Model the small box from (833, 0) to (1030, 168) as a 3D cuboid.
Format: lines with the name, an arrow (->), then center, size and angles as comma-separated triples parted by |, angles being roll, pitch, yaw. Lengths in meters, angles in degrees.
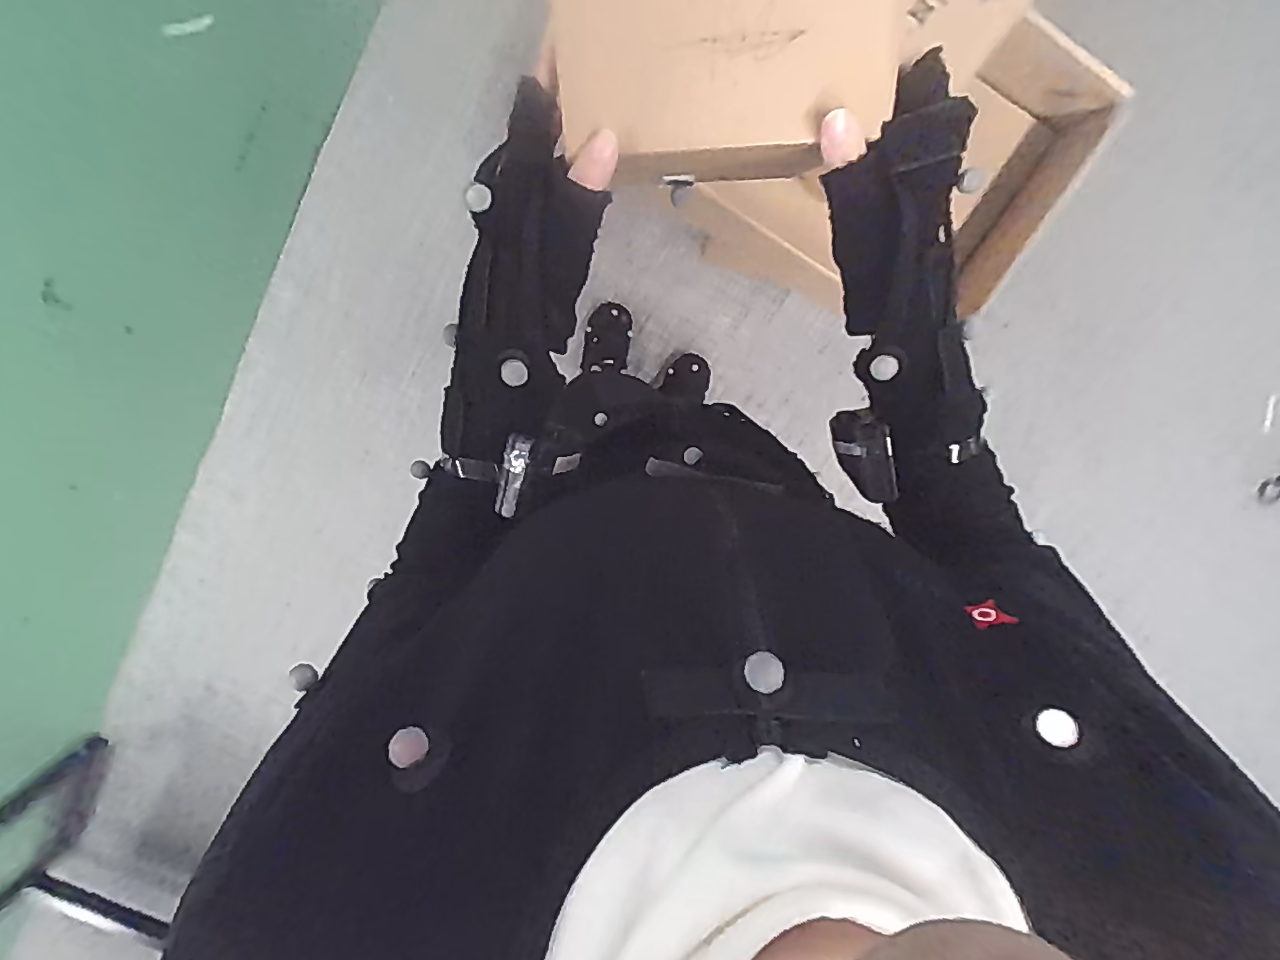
small box -> 0.286, -0.501, 0.617 | 0.168, 0.176, 0.179 | 35, 104, -10

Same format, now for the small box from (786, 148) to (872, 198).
small box -> 0.292, -0.545, 0.775 | 0.168, 0.176, 0.179 | 38, 103, -9

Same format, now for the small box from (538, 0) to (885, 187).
small box -> 0.029, -0.282, 0.314 | 0.168, 0.176, 0.179 | -5, 115, 1
